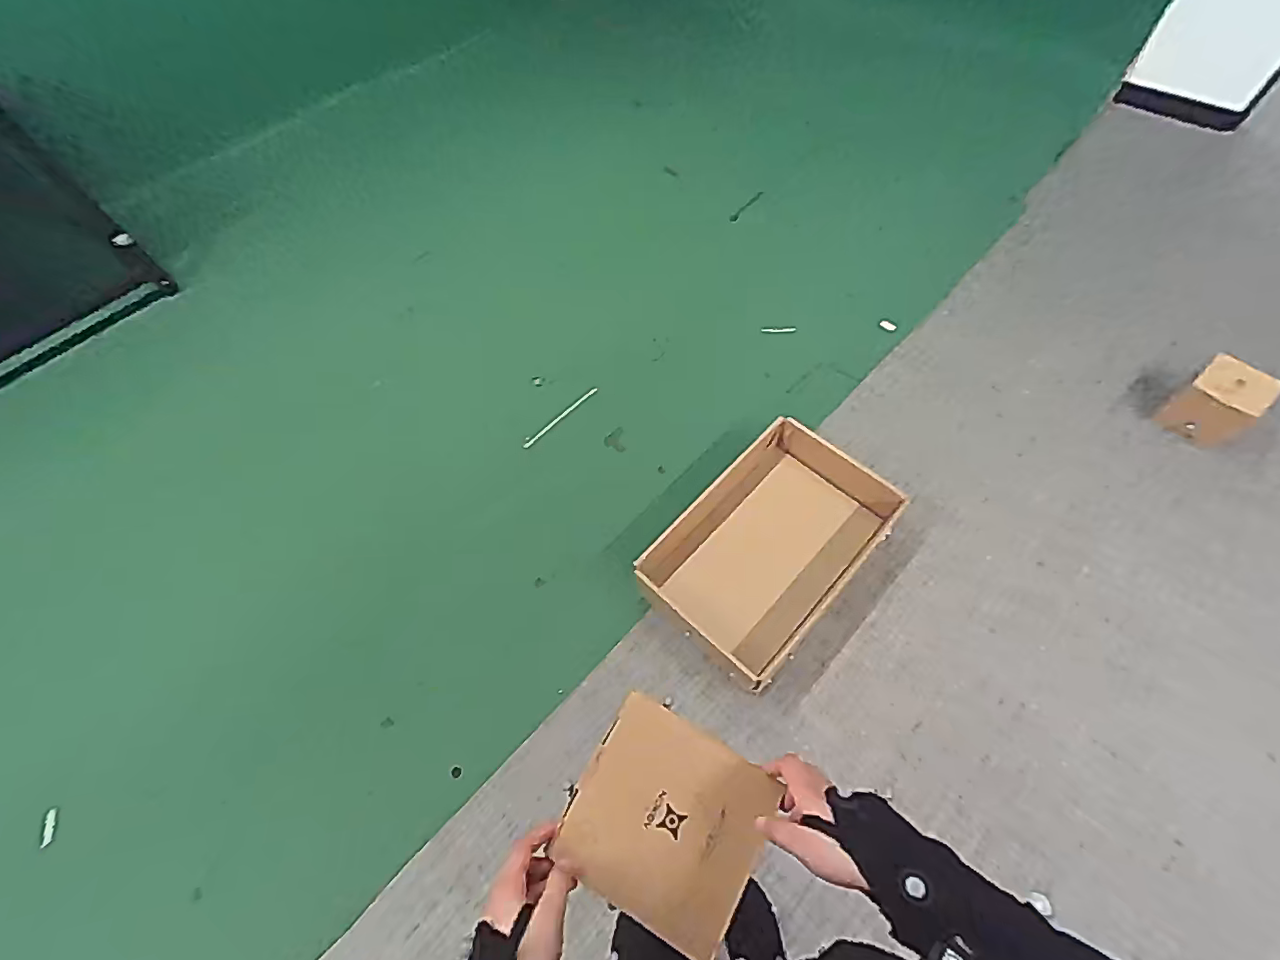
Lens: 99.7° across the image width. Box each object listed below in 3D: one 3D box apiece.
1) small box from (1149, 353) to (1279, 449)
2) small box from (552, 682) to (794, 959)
[{"bbox_3d":[1.639,-0.224,1.555,0.179,0.176,0.168,-38,65,-16],"label":"small box"},{"bbox_3d":[0.029,0.336,0.576,0.179,0.176,0.168,29,71,8],"label":"small box"}]
